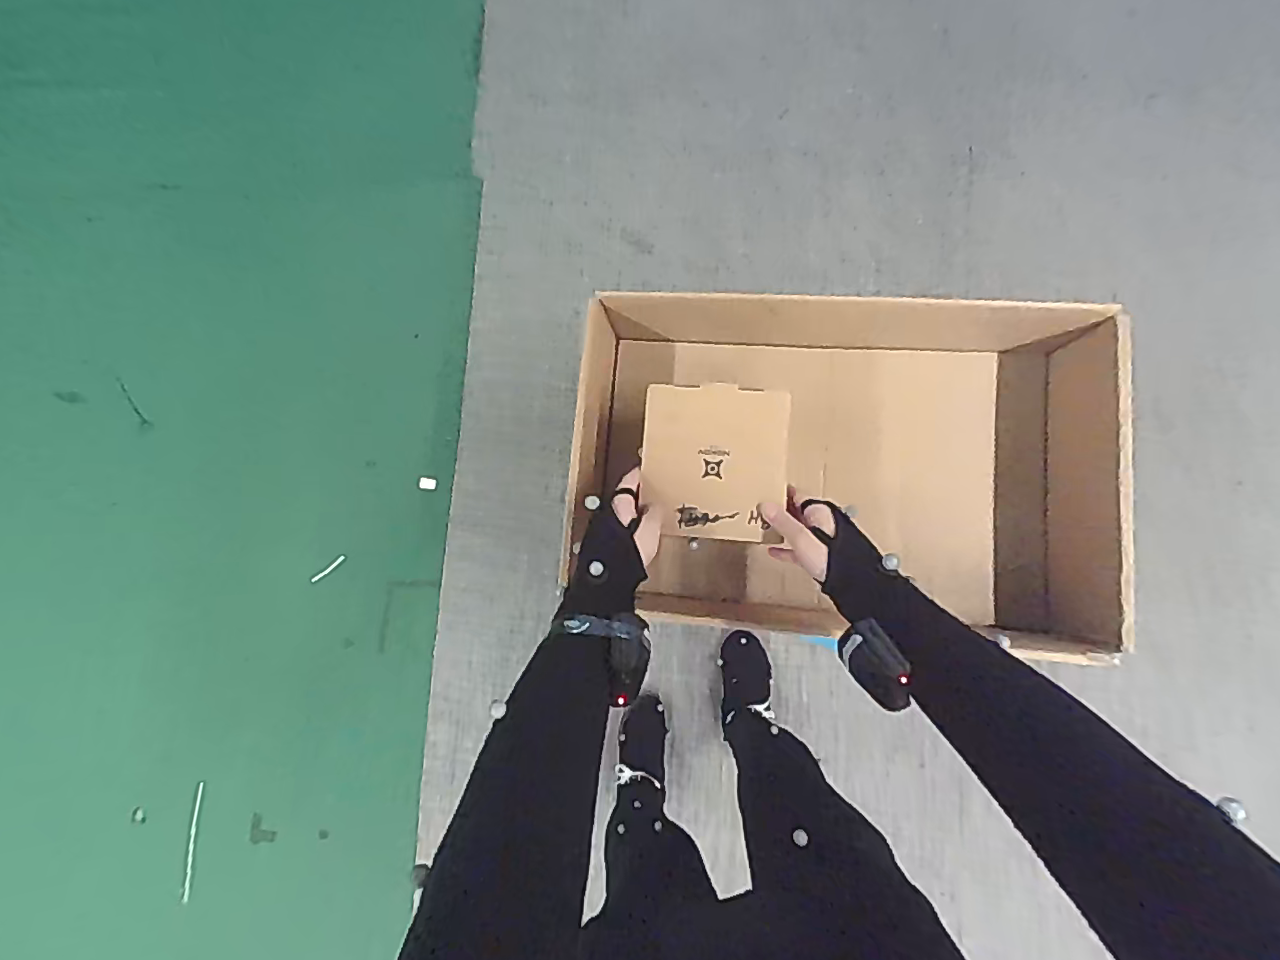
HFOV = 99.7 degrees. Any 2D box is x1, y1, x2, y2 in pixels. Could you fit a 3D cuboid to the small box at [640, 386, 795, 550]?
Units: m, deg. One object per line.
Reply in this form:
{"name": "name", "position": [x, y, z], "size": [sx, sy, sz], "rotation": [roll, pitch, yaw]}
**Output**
{"name": "small box", "position": [0.097, -0.007, 0.688], "size": [0.168, 0.176, 0.179], "rotation": [4, 82, 8]}
